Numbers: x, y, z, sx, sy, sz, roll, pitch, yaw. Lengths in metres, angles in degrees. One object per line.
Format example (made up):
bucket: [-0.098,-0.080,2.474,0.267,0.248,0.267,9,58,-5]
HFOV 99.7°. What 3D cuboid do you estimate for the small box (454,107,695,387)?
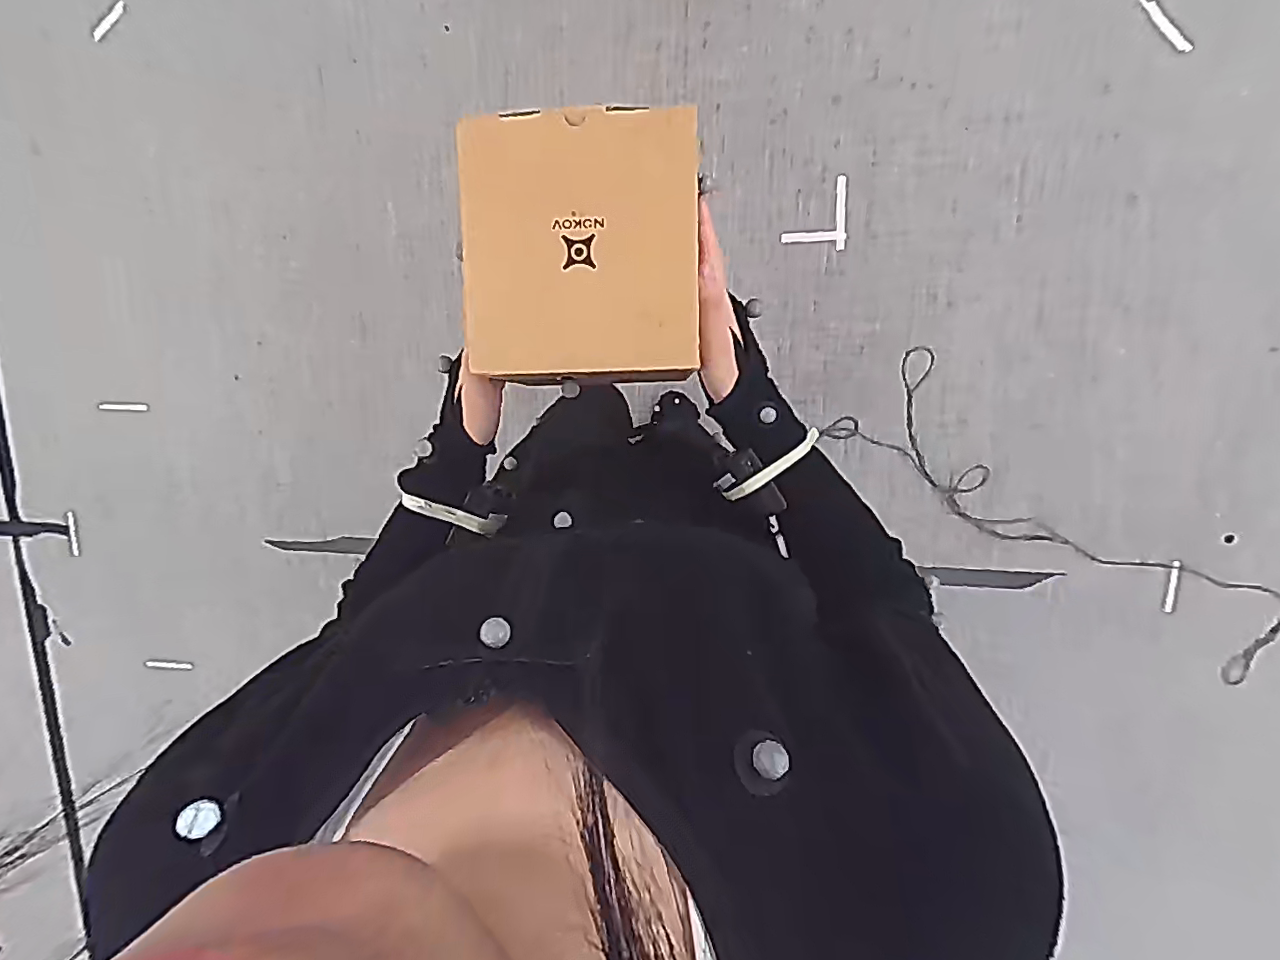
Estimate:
small box: [-0.039,-0.169,0.451,0.168,0.176,0.179,-2,96,2]
